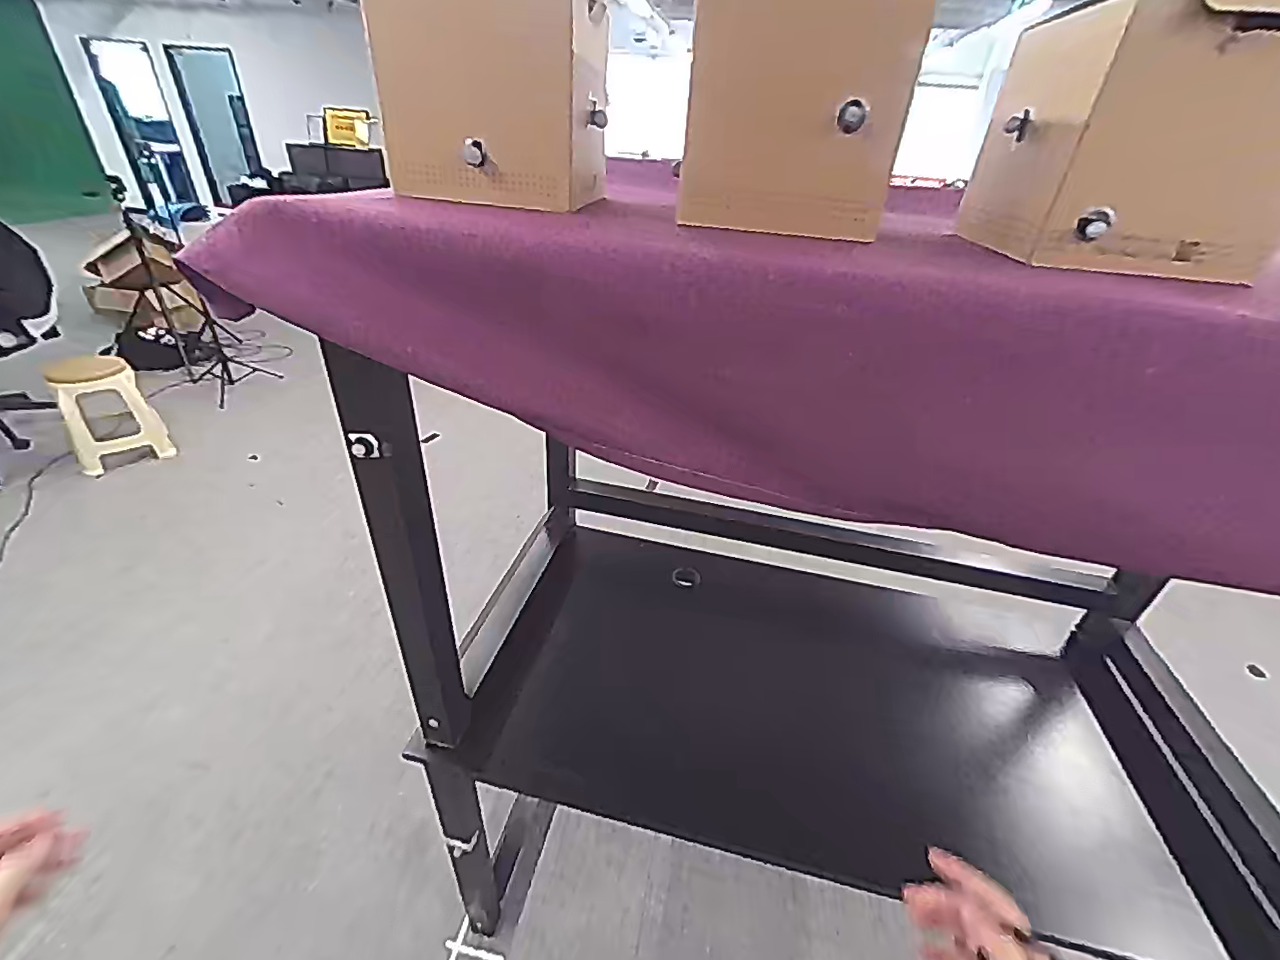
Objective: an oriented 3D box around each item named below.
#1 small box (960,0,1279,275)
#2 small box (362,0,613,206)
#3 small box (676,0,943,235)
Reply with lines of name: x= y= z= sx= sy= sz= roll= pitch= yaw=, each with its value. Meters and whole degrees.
small box: x=0.395 y=-0.270 z=0.433 sx=0.168 sy=0.176 sz=0.179 roll=8 pitch=32 yaw=5
small box: x=-0.130 y=-0.367 z=0.517 sx=0.179 sy=0.176 sz=0.168 roll=8 pitch=33 yaw=4
small box: x=0.135 y=-0.326 z=0.491 sx=0.179 sy=0.176 sz=0.168 roll=8 pitch=32 yaw=6
